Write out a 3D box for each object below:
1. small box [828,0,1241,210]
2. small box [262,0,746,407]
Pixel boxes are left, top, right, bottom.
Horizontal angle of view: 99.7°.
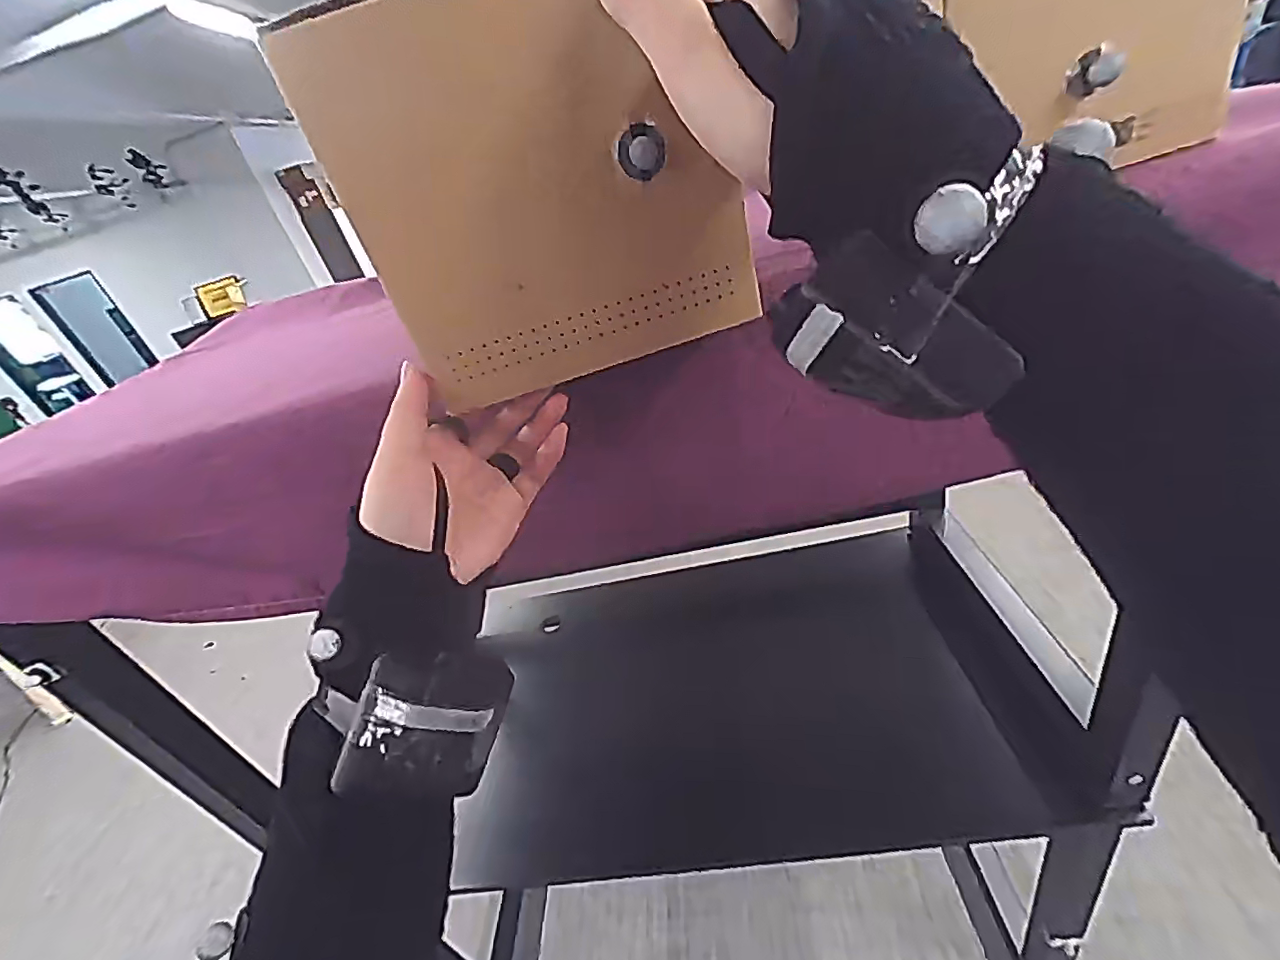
[{"bbox_3d":[0.236,-0.293,0.360,0.168,0.176,0.179,-16,30,4],"label":"small box"},{"bbox_3d":[-0.049,-0.166,0.307,0.179,0.176,0.168,-19,32,0],"label":"small box"}]
